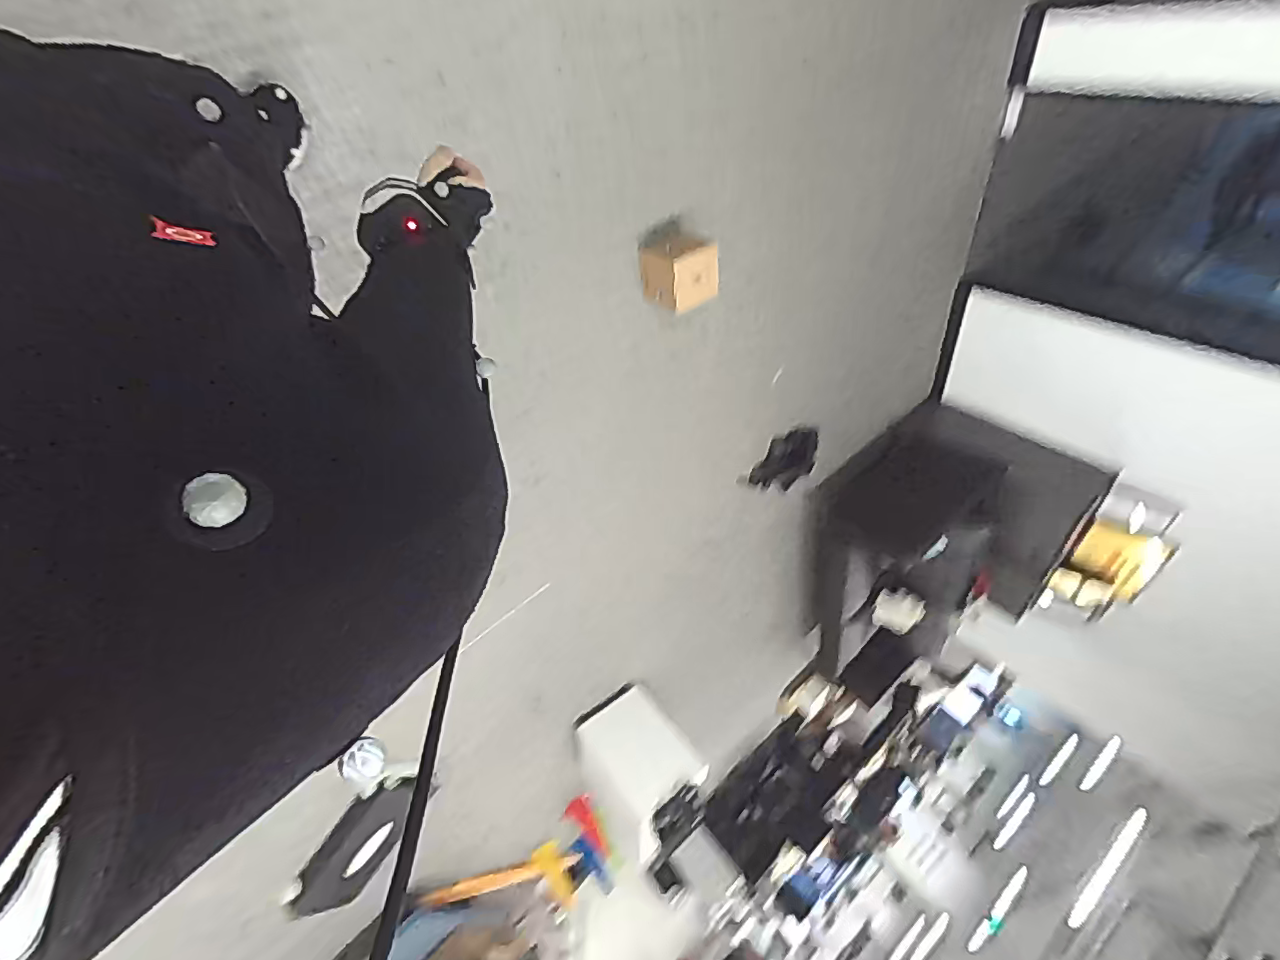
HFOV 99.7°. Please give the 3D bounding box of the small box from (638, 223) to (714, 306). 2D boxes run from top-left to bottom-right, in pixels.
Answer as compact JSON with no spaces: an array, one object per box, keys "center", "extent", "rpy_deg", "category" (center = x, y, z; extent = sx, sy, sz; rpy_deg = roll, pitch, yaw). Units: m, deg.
[{"center":[0.106,-0.663,1.657],"extent":[0.179,0.176,0.168],"rpy_deg":[-34,141,-22],"category":"small box"}]
